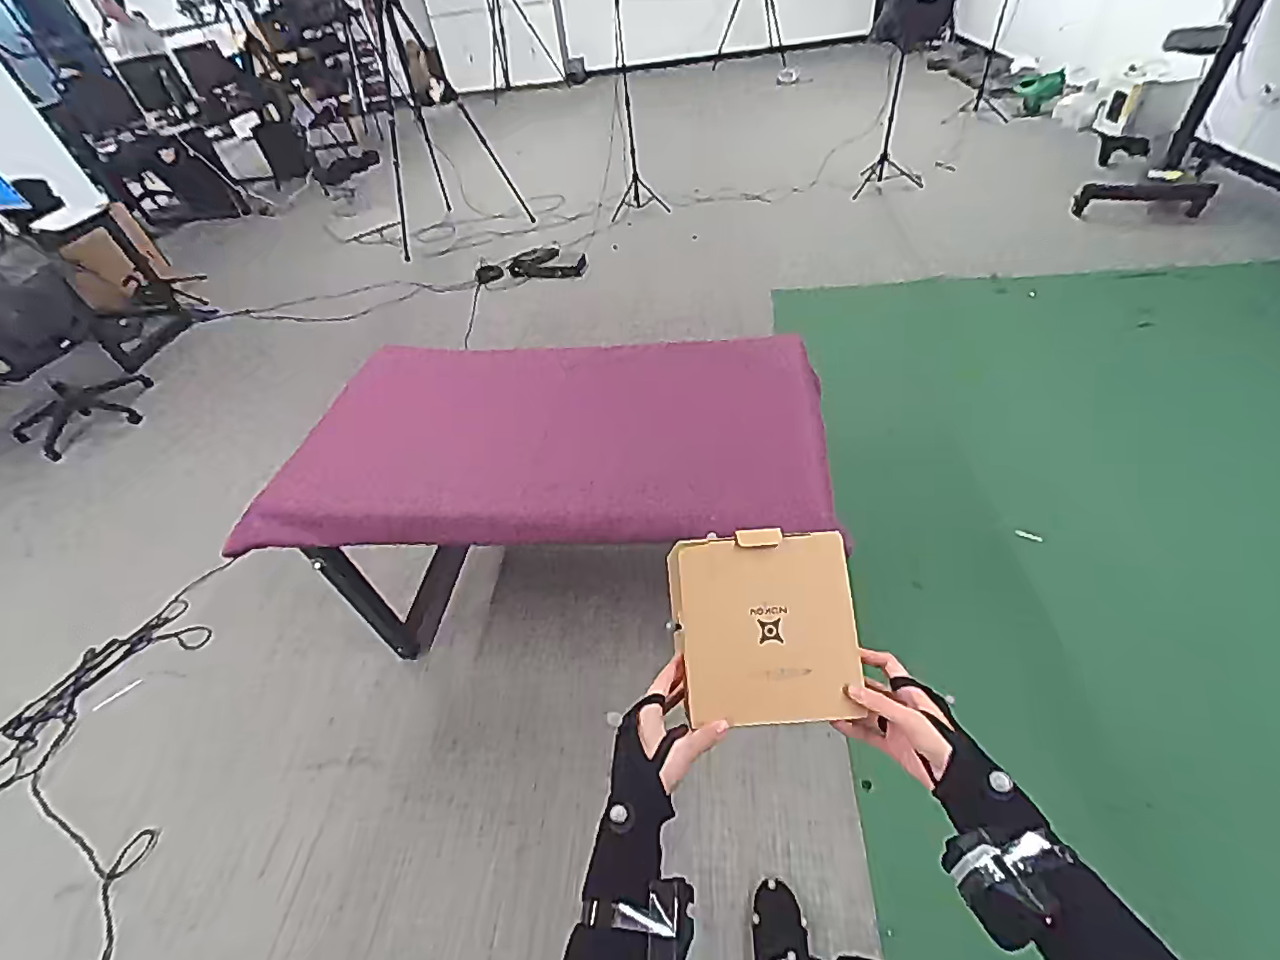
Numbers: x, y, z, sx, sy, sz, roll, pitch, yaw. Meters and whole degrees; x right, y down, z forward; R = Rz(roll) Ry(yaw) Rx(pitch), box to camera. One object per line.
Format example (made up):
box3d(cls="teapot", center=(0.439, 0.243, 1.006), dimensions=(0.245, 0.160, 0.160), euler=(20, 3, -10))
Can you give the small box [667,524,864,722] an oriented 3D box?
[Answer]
box3d(cls="small box", center=(0.119, 0.151, 0.588), dimensions=(0.168, 0.176, 0.179), euler=(-3, 77, 0))
